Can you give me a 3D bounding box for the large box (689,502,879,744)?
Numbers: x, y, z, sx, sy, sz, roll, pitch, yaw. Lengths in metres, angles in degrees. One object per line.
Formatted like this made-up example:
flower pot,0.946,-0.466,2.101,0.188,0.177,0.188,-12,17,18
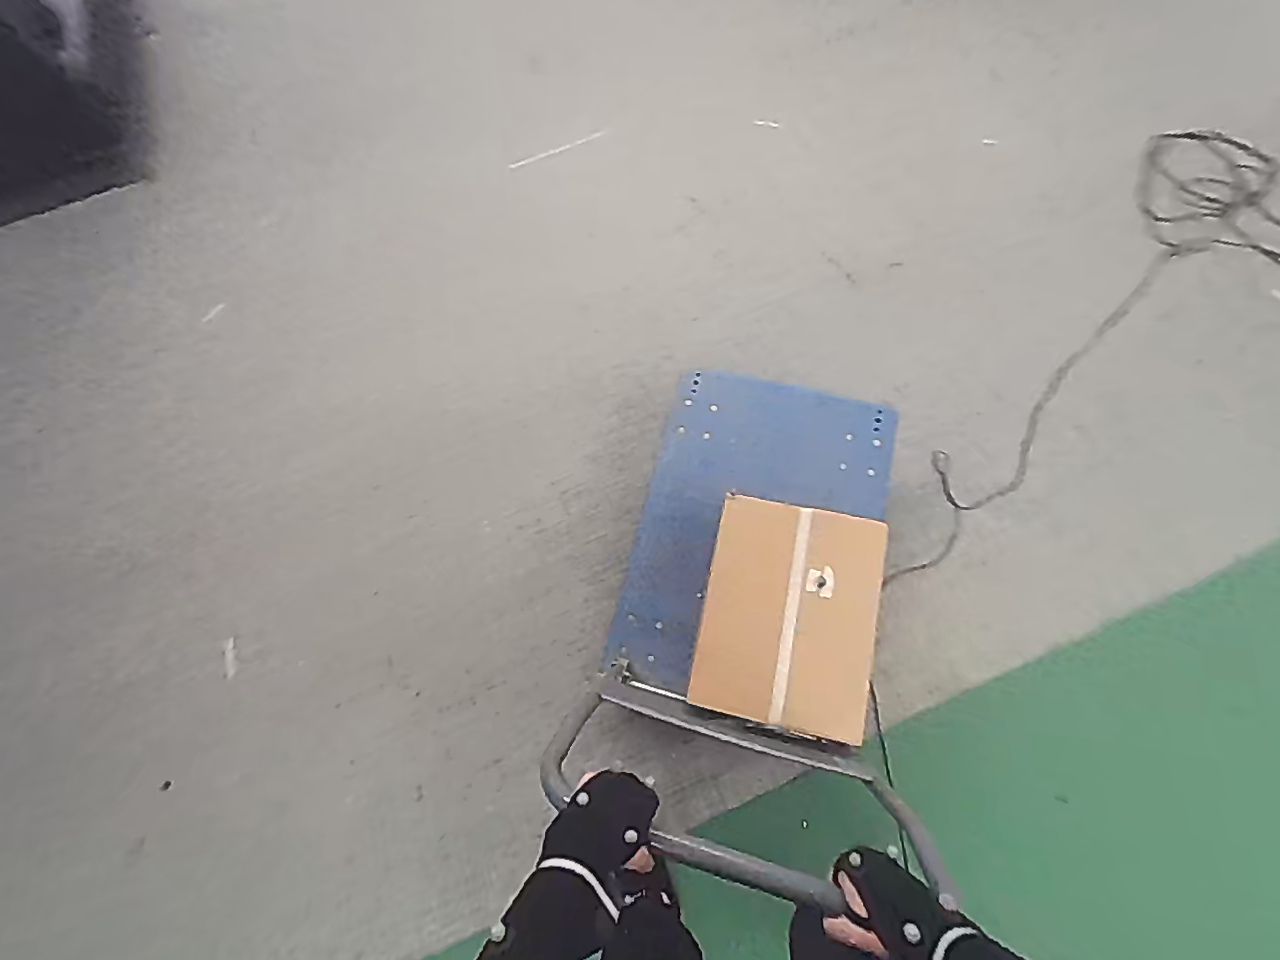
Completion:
large box,0.293,0.299,1.170,0.320,0.320,0.408,11,76,8
